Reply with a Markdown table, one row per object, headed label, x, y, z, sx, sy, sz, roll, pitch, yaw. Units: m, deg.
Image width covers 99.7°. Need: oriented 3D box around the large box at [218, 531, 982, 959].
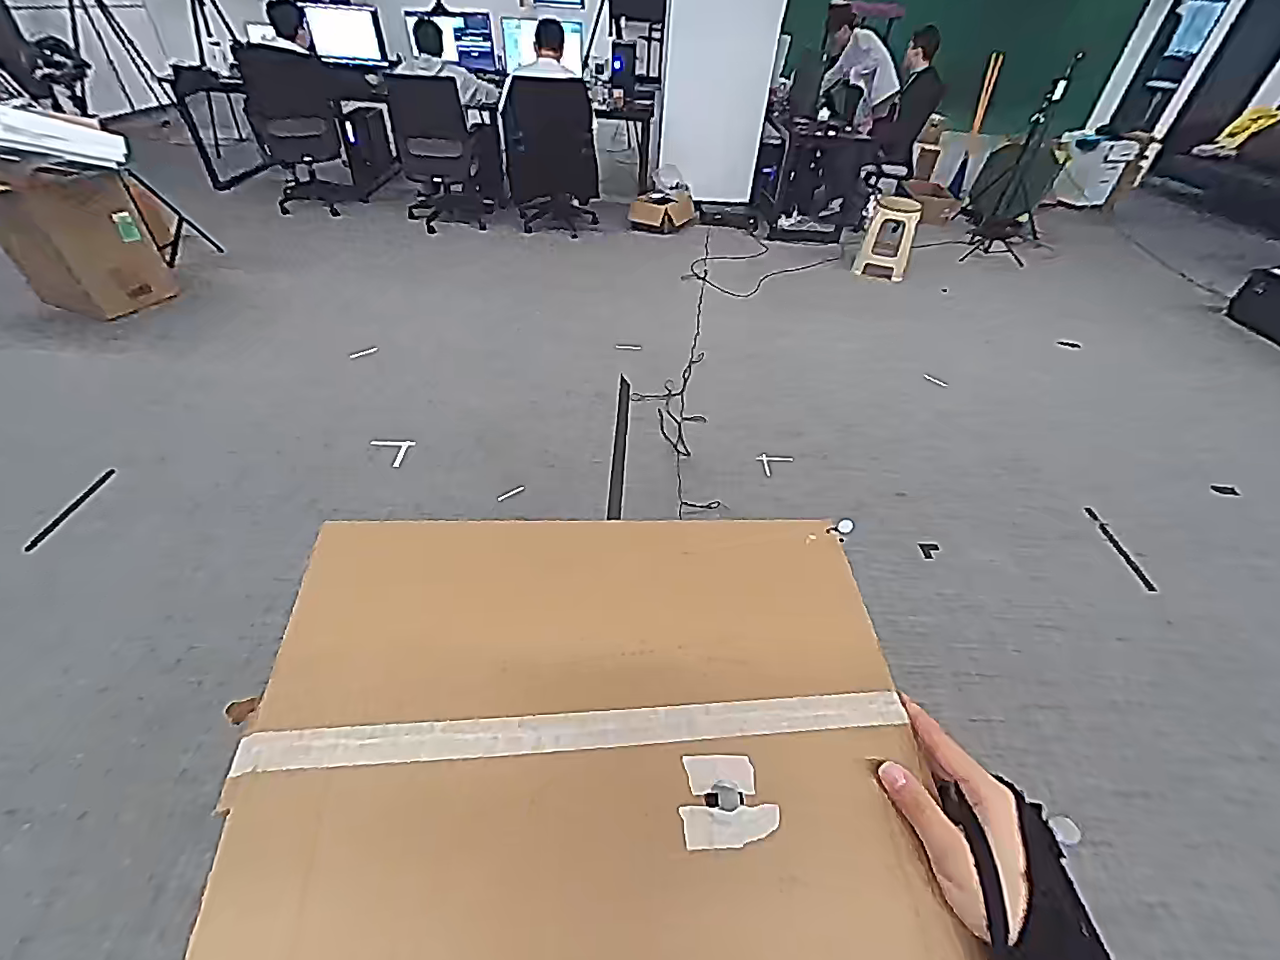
| label | x | y | z | sx | sy | sz | roll | pitch | yaw |
| --- | --- | --- | --- | --- | --- | --- | --- | --- | --- |
| large box | -0.040 | 0.256 | 0.462 | 0.408 | 0.320 | 0.320 | 1 | 53 | -10 |
